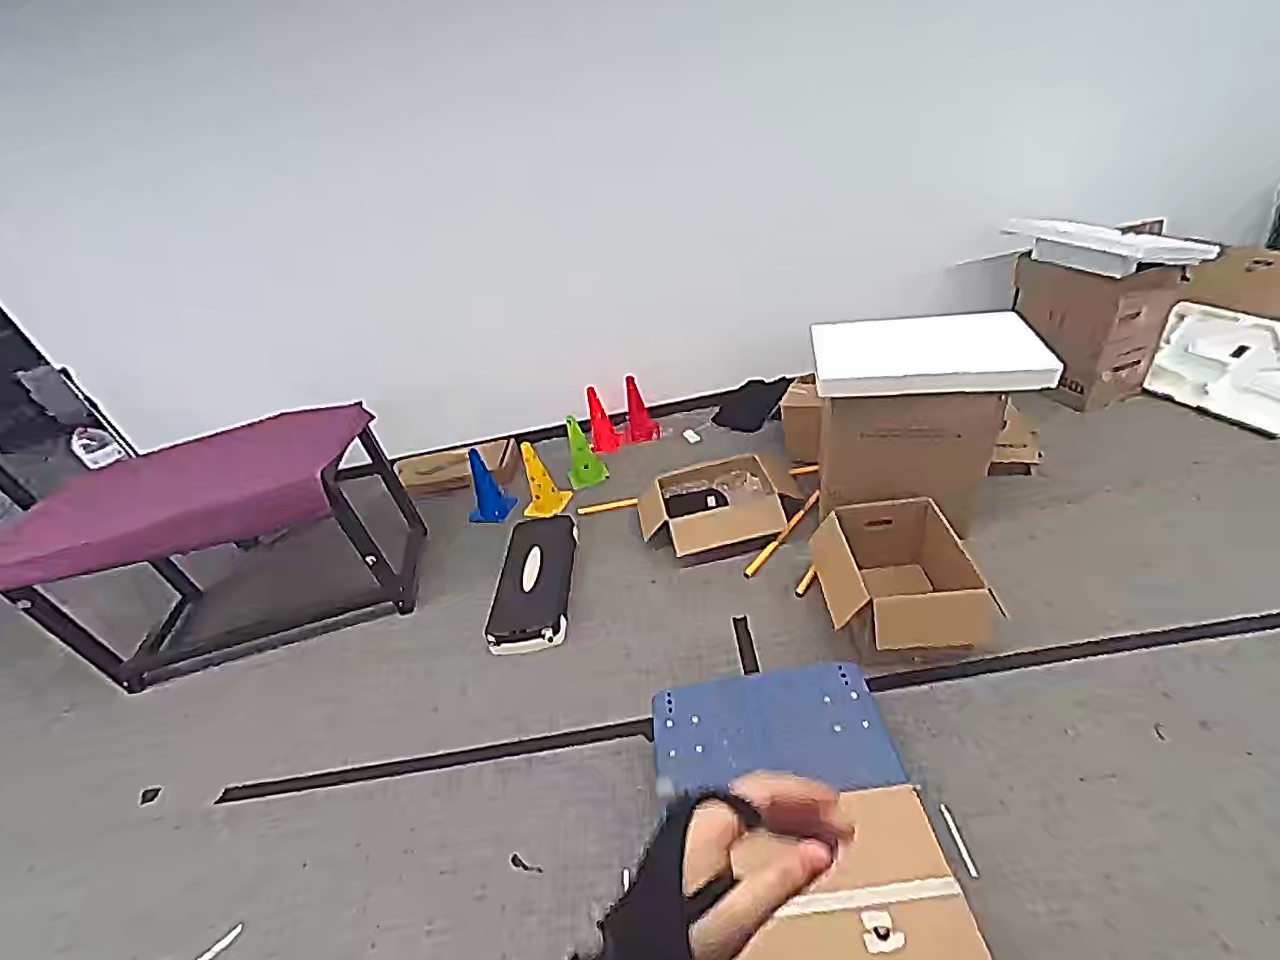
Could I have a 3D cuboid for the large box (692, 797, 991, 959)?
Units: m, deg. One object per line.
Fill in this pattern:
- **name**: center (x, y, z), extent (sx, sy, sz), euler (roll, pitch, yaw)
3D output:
- **large box**: center (0.317, 0.788, 0.902), extent (0.408, 0.320, 0.320), euler (-10, 35, 3)
